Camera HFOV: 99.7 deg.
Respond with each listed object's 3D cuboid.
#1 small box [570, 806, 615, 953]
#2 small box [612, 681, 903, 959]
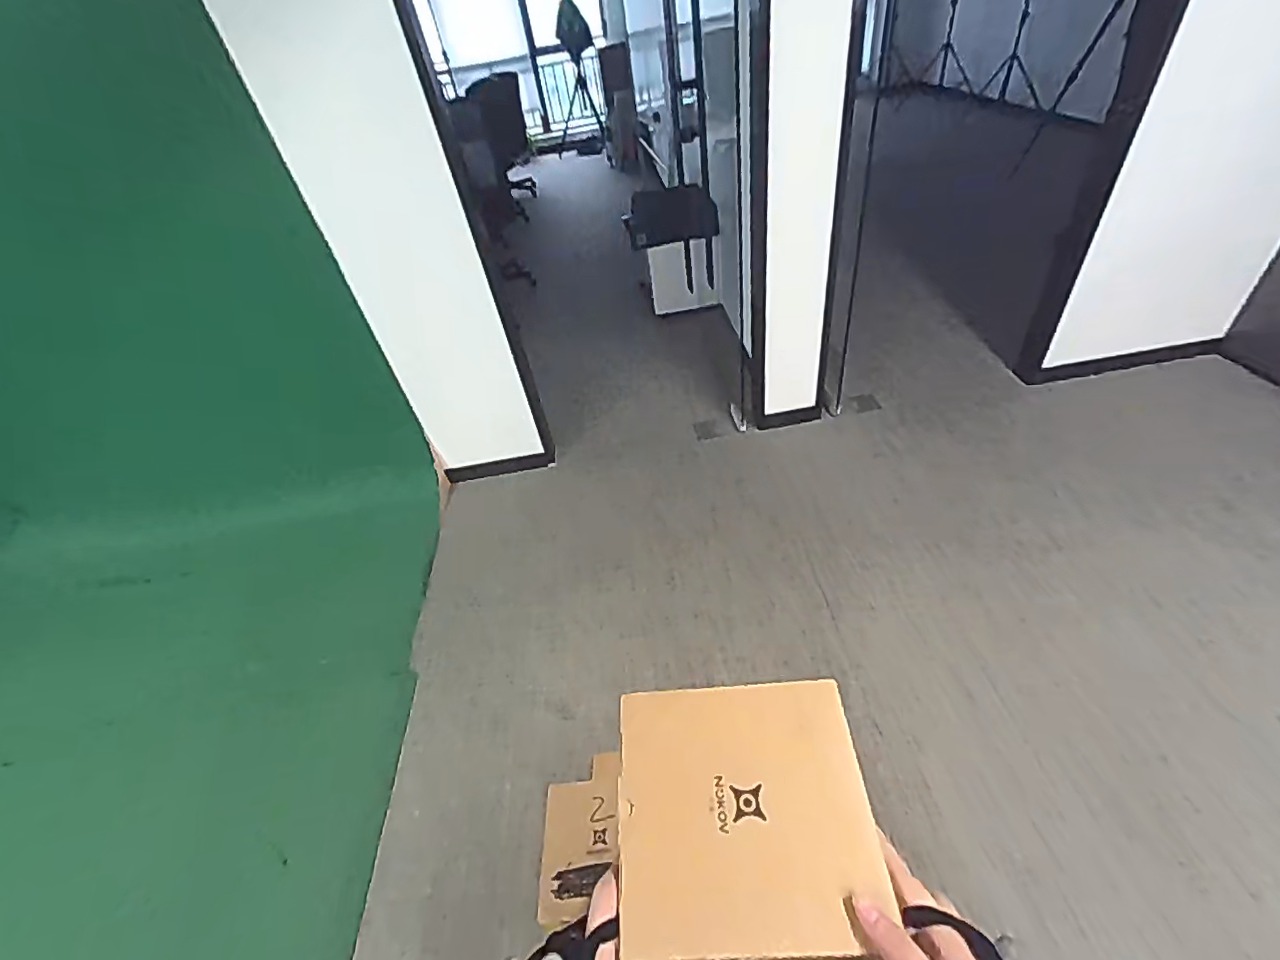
[{"bbox_3d":[-0.013,0.691,0.938,0.168,0.176,0.179,-6,40,7],"label":"small box"},{"bbox_3d":[0.077,0.277,0.433,0.179,0.176,0.168,-6,47,5],"label":"small box"}]
